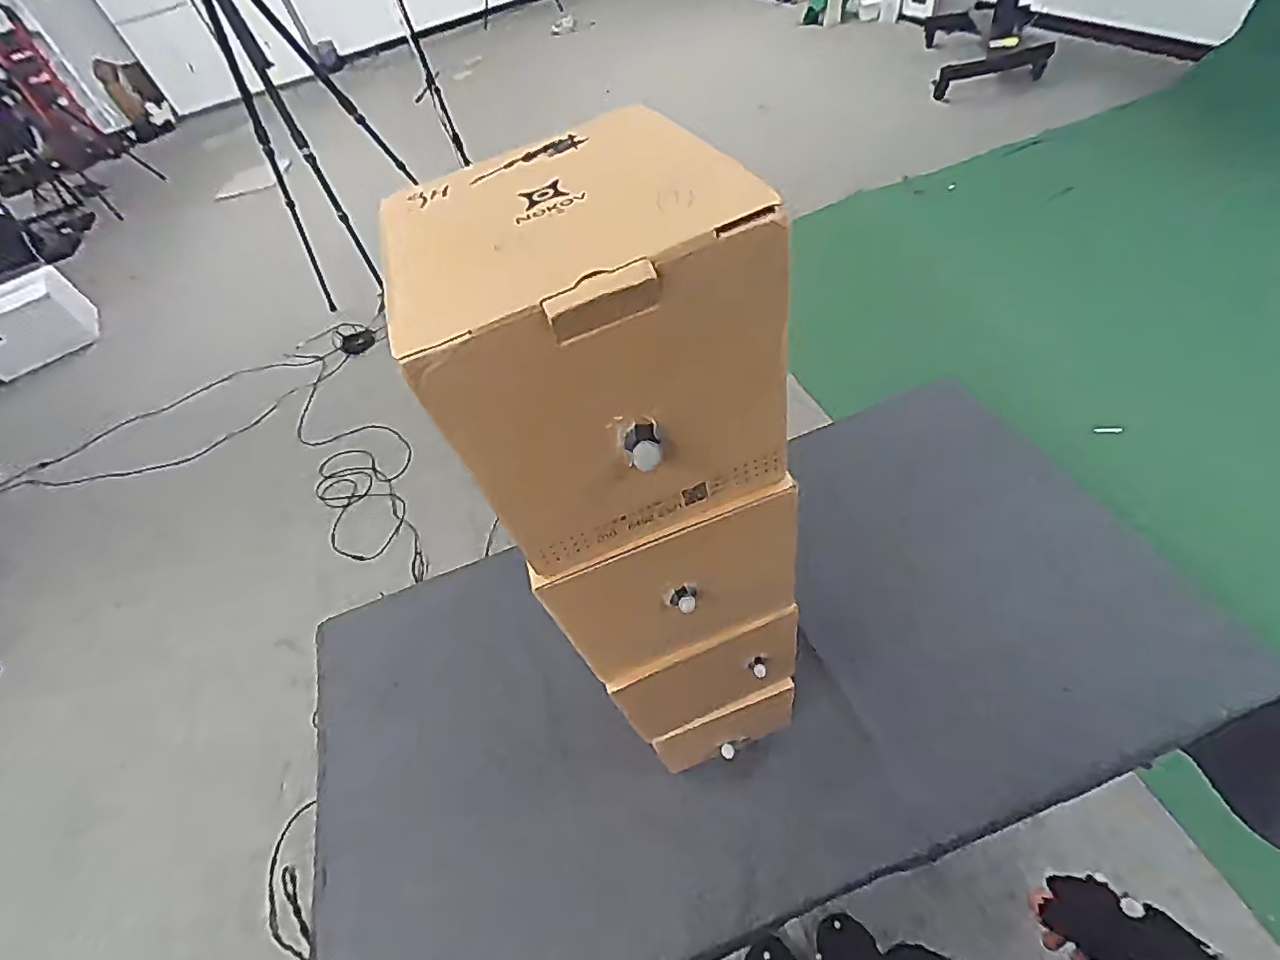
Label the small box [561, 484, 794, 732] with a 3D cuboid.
[{"bbox_3d":[0.040,0.131,0.561,0.179,0.176,0.168,-22,49,-4],"label":"small box"}]

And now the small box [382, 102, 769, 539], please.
[{"bbox_3d":[-0.031,-0.086,0.327,0.168,0.176,0.179,-22,49,-4],"label":"small box"}]

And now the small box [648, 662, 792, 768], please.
[{"bbox_3d":[0.075,0.232,0.684,0.168,0.176,0.179,-21,50,-3],"label":"small box"}]
